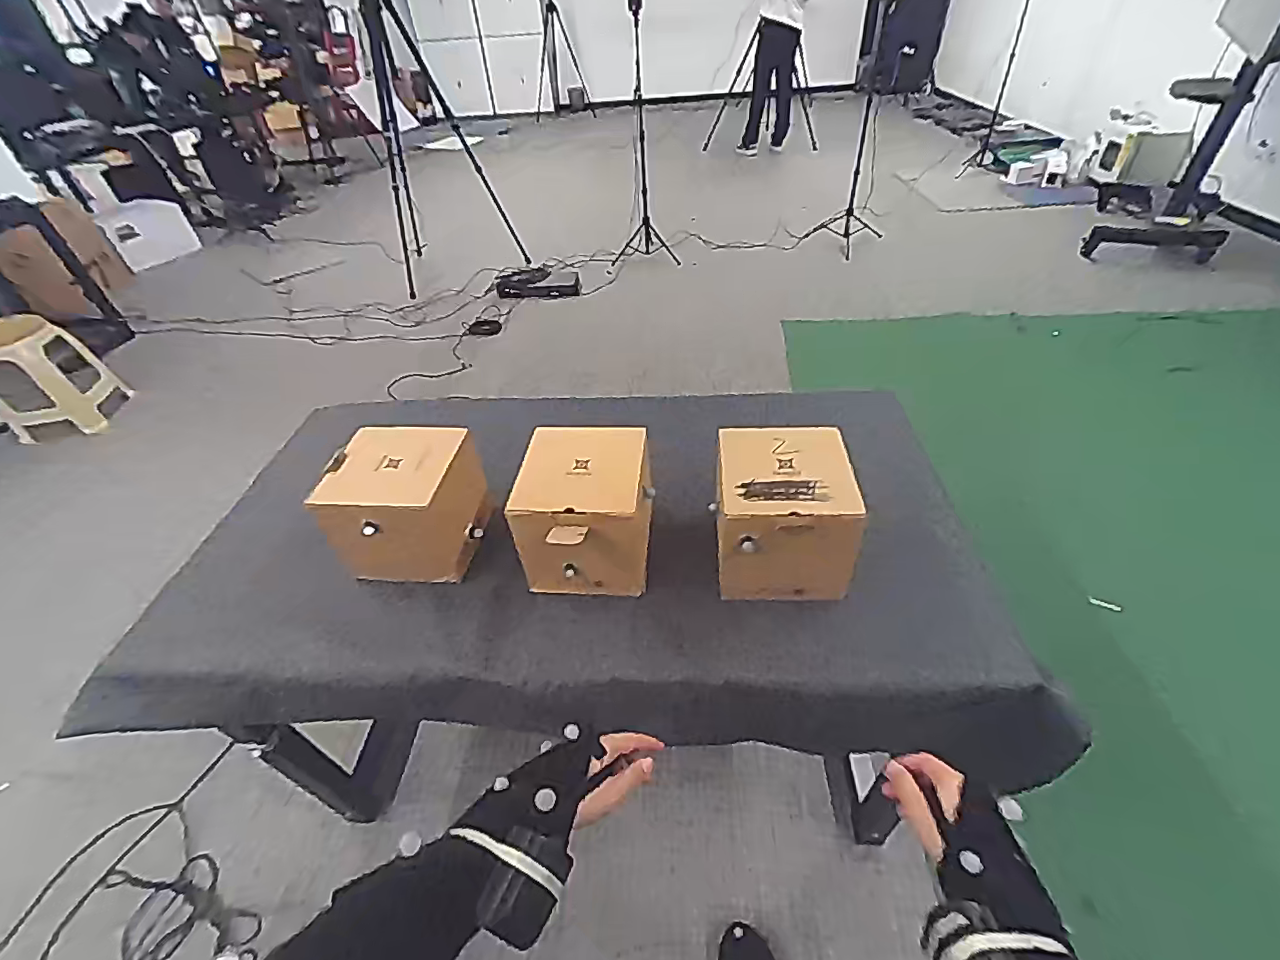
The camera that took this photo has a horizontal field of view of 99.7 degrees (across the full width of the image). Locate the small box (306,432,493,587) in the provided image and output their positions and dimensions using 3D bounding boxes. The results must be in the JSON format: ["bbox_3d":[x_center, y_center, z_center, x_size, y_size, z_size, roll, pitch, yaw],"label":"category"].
[{"bbox_3d":[-0.342,0.045,0.809,0.179,0.176,0.168,2,43,6],"label":"small box"}]

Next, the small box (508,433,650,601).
[{"bbox_3d":[-0.074,0.050,0.778,0.168,0.176,0.179,1,42,6],"label":"small box"}]
